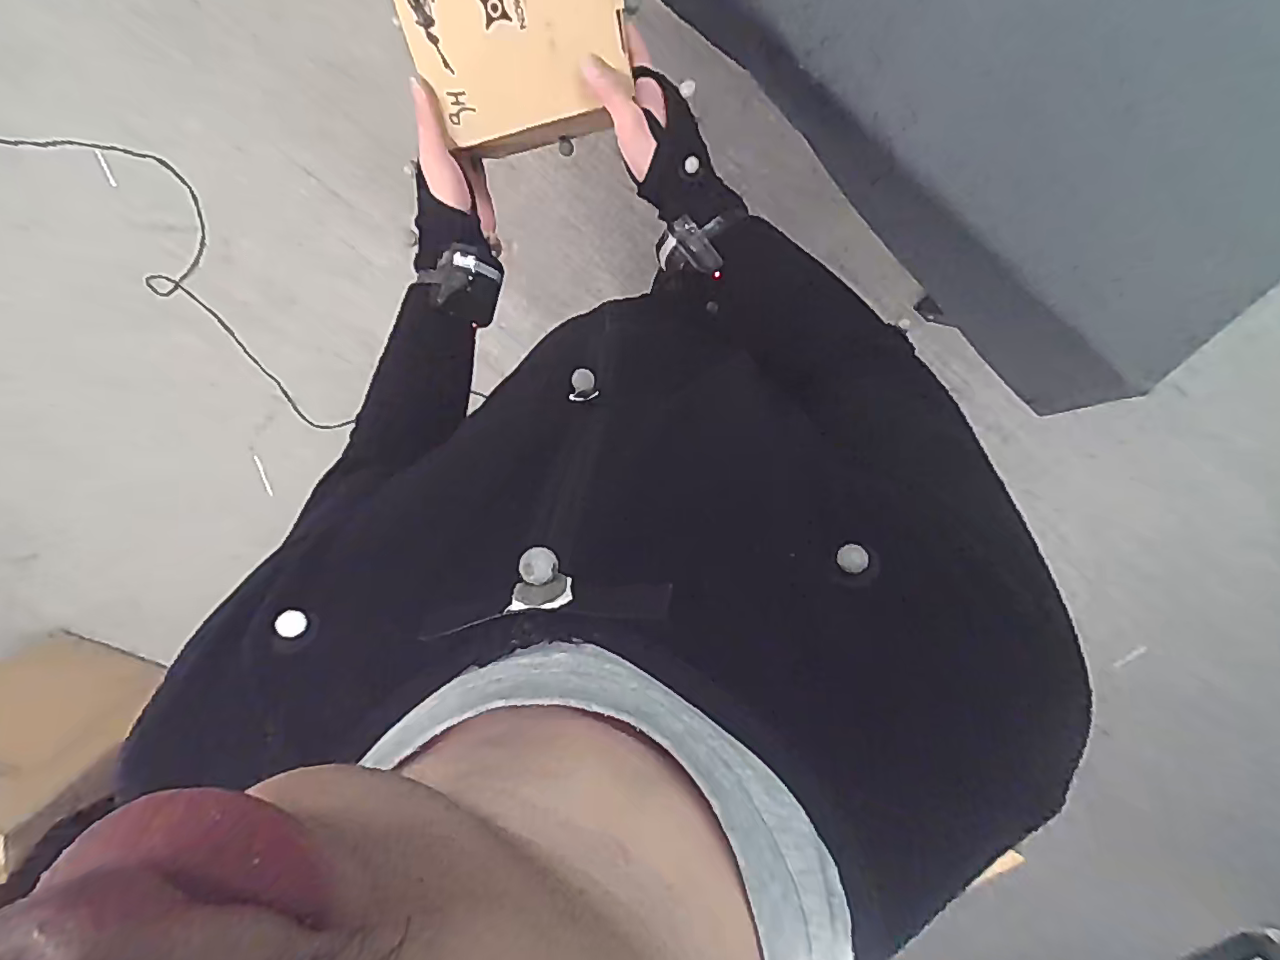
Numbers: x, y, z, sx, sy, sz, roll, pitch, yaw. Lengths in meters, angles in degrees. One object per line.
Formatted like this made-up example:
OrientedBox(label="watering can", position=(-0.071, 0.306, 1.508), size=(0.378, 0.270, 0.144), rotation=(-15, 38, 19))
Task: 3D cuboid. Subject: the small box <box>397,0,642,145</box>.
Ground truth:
OrientedBox(label="small box", position=(-0.099, -0.411, 0.475), size=(0.179, 0.176, 0.168), rotation=(-10, 116, 6))
